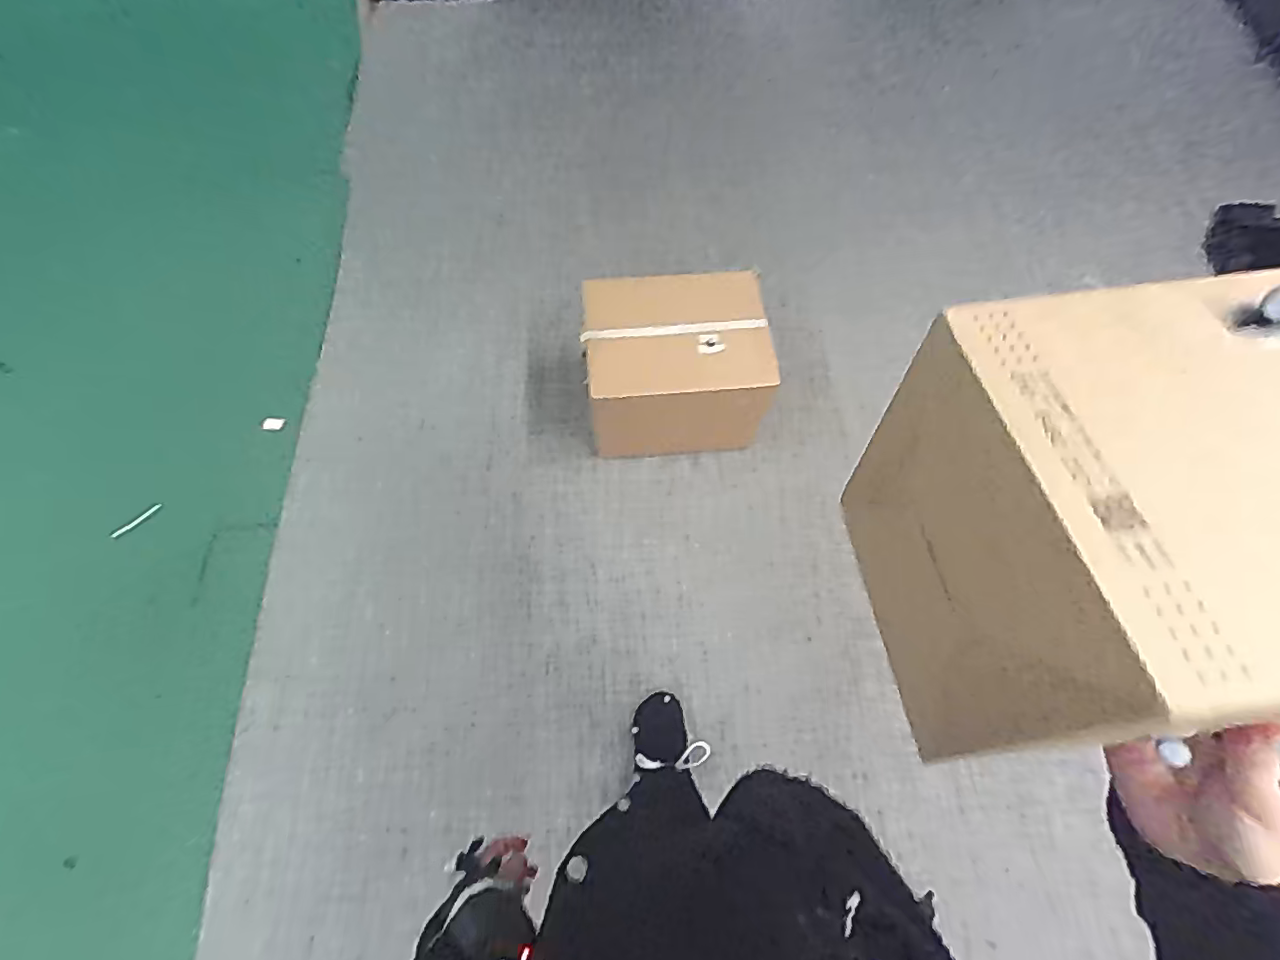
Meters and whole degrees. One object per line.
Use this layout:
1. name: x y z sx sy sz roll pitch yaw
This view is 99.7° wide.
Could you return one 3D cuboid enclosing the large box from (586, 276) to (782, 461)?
1. large box: 0.085 -0.260 1.323 0.408 0.320 0.320 -4 68 -4
